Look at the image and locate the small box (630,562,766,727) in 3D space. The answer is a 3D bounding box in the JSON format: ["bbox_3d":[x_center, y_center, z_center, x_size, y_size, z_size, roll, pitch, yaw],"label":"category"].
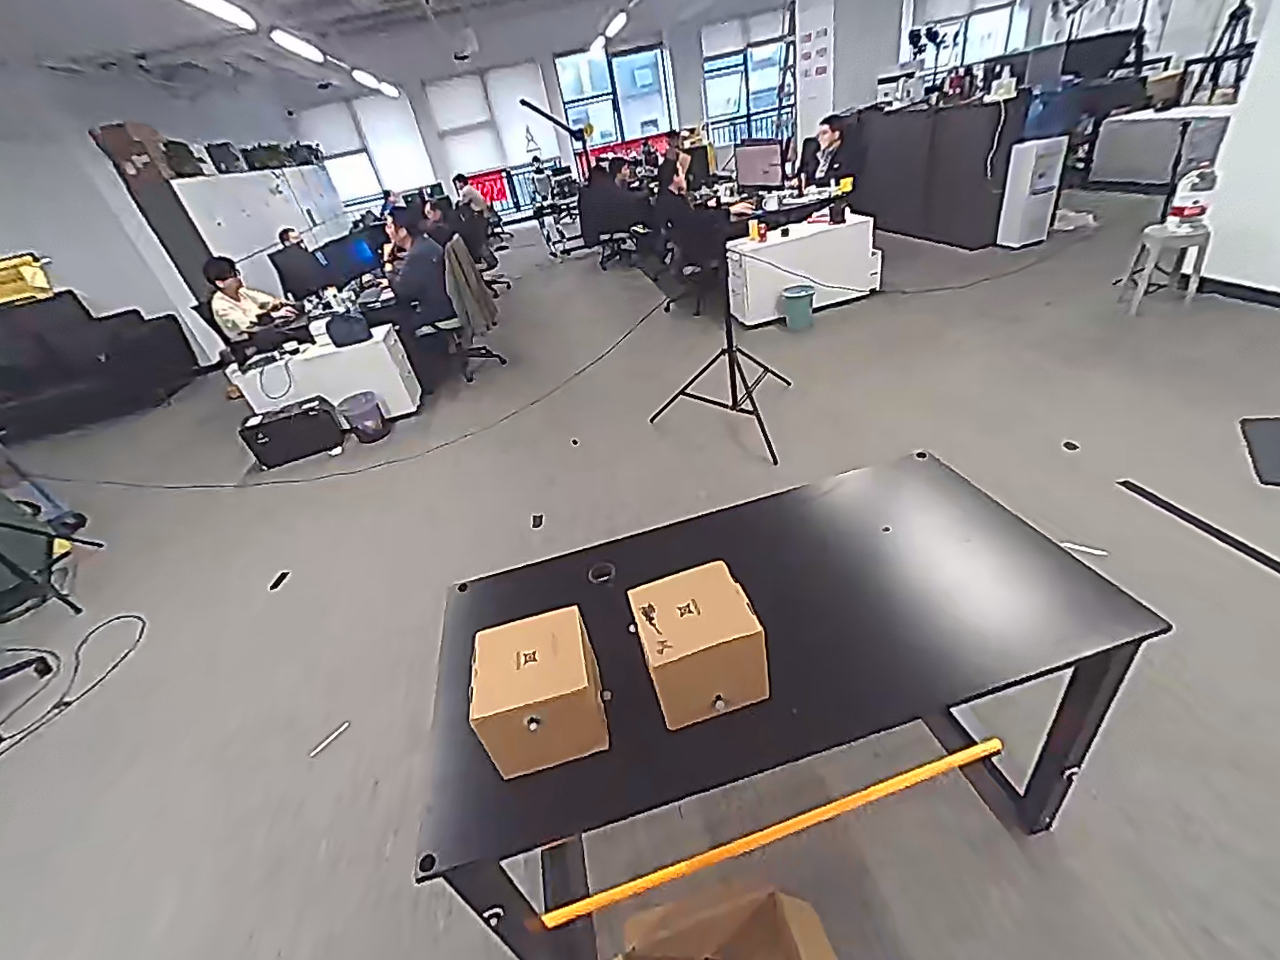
[{"bbox_3d":[0.095,0.270,0.891,0.179,0.176,0.168,-16,33,-6],"label":"small box"}]

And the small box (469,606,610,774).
[{"bbox_3d":[-0.159,0.339,0.872,0.179,0.176,0.168,-15,35,-5],"label":"small box"}]
